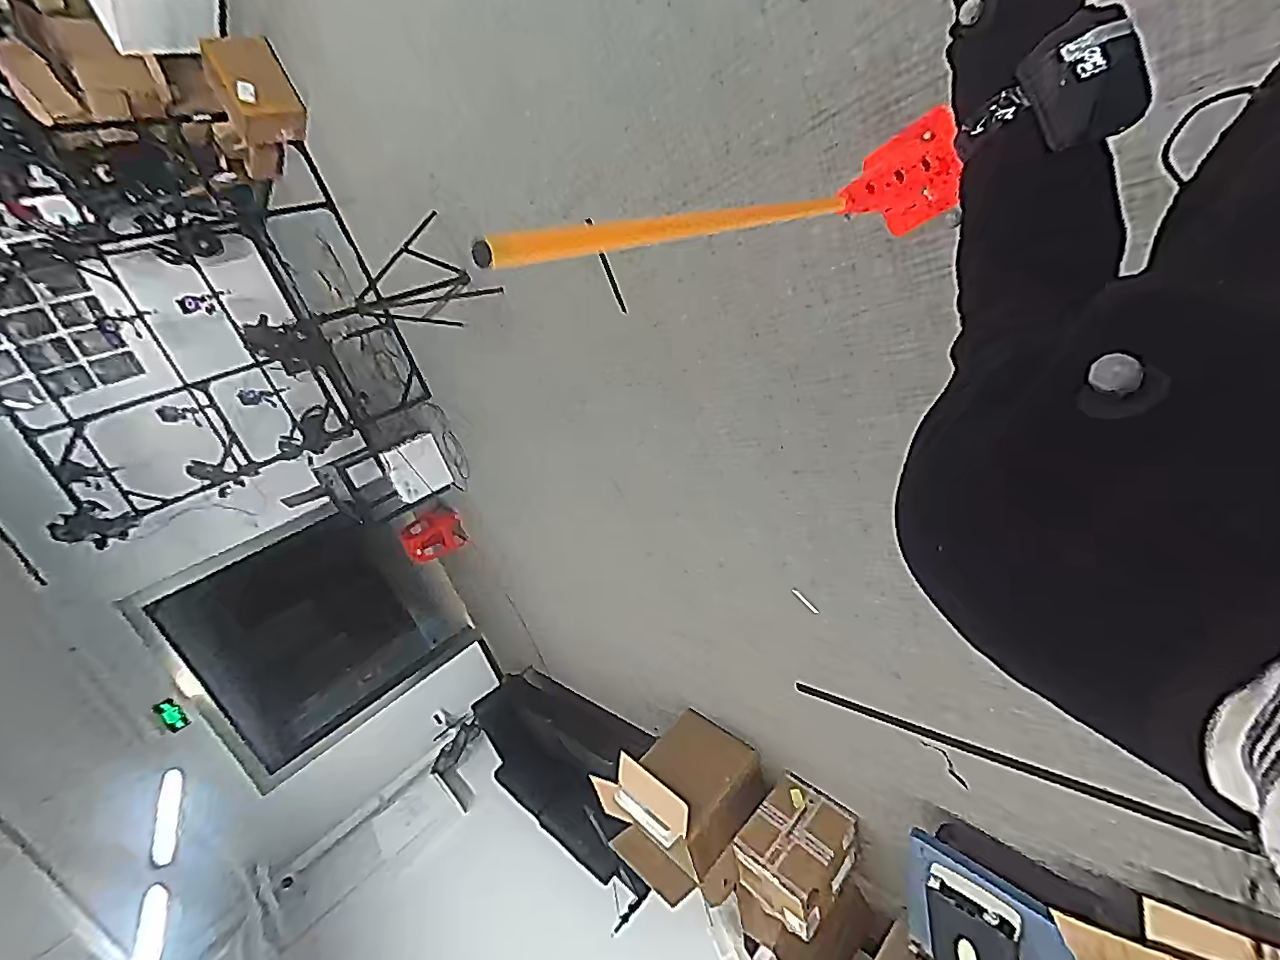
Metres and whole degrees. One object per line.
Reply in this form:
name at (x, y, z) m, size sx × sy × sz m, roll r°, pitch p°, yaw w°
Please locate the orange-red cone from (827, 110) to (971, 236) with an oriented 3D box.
orange-red cone at (0.496, -0.600, 1.120) m, size 0.199 × 0.360 × 0.198 m, roll -12°, pitch 107°, yaw 57°
